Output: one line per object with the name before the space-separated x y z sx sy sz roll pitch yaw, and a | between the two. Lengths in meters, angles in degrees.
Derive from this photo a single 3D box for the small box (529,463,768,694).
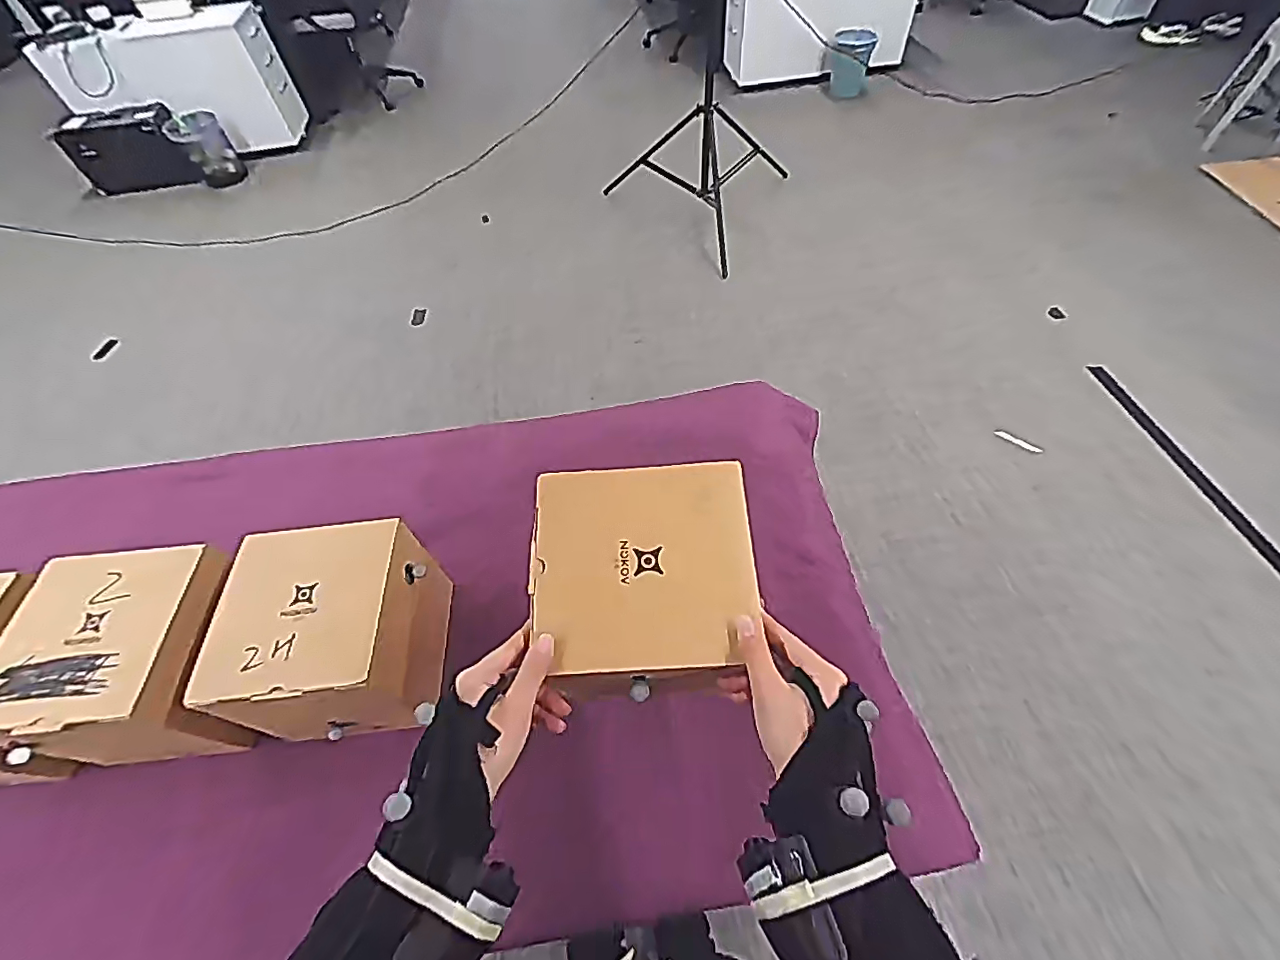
small box | 0.008 0.099 0.494 0.179 0.176 0.168 -4 63 3
